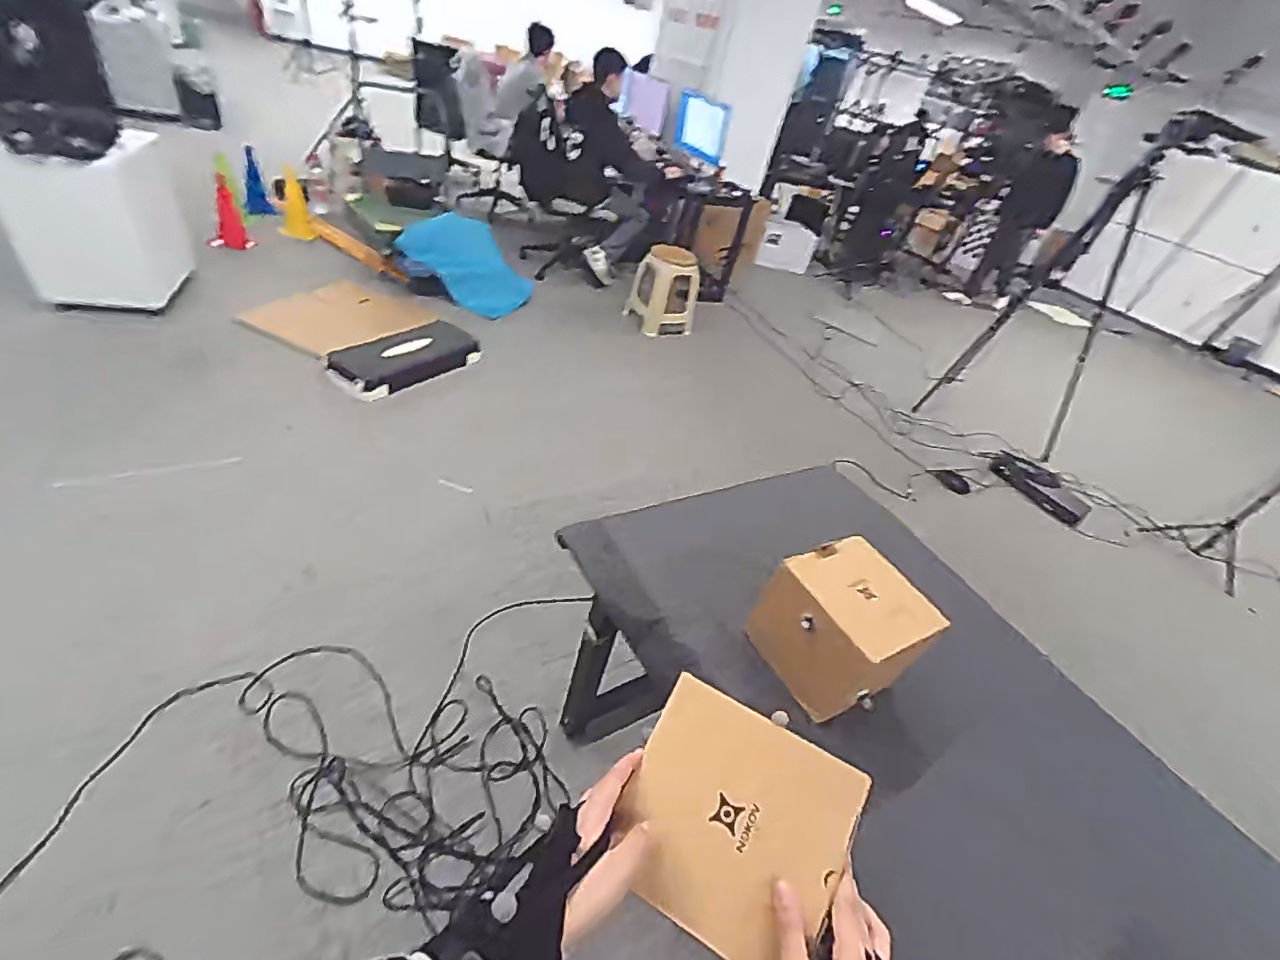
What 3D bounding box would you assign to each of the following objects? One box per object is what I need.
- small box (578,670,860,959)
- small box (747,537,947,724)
[{"bbox_3d":[0.069,0.305,0.496,0.179,0.176,0.168,25,65,17],"label":"small box"},{"bbox_3d":[0.285,0.214,0.785,0.168,0.176,0.179,-11,47,-30],"label":"small box"}]
